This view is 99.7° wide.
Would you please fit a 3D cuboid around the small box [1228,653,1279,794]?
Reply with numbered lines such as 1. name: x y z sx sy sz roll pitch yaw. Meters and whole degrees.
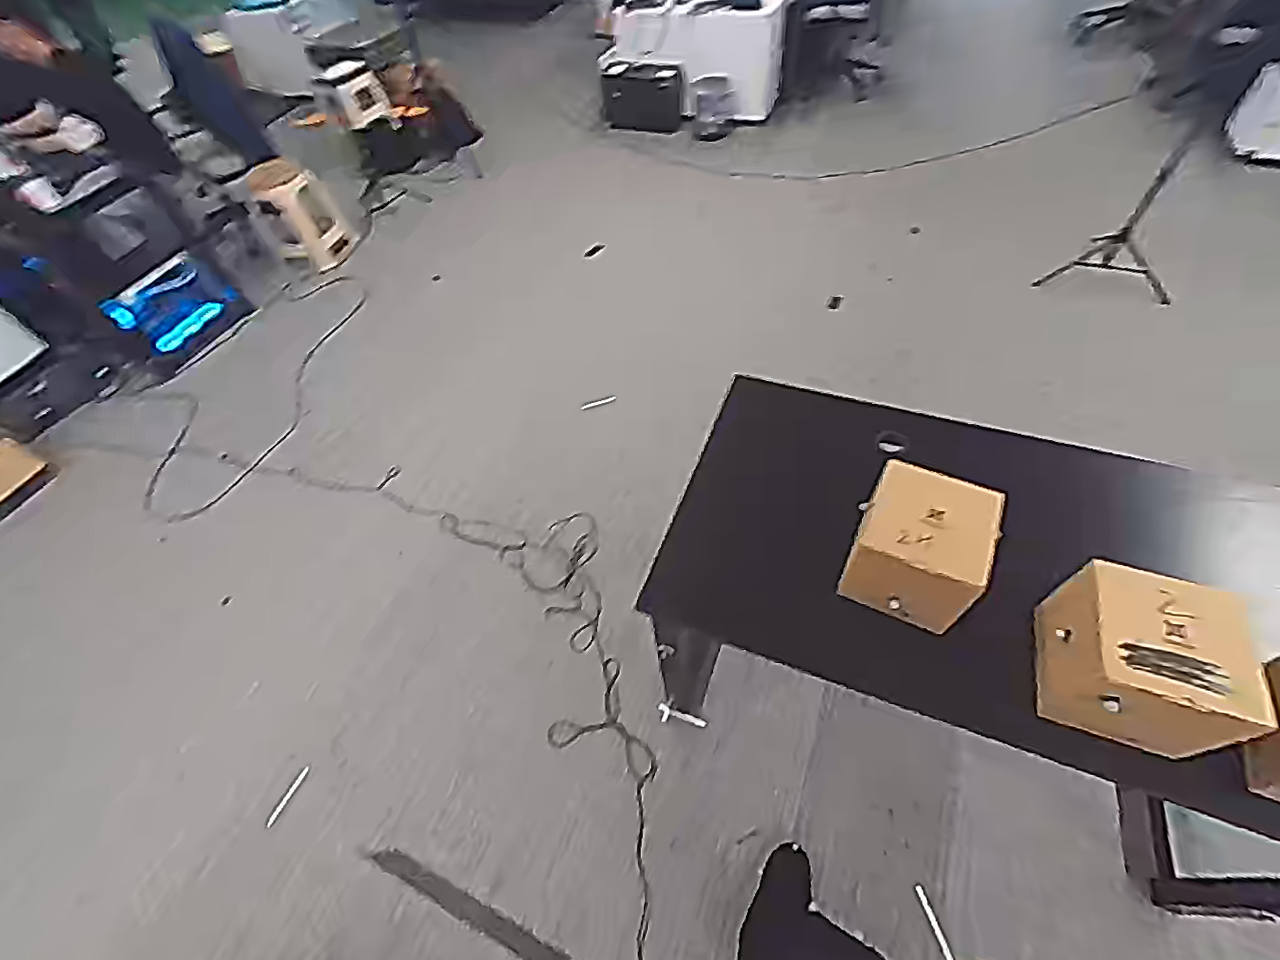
1. small box: 0.885 0.306 0.649 0.179 0.176 0.168 16 57 19

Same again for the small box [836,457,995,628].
1. small box: 0.425 0.100 0.854 0.168 0.176 0.179 20 59 20
